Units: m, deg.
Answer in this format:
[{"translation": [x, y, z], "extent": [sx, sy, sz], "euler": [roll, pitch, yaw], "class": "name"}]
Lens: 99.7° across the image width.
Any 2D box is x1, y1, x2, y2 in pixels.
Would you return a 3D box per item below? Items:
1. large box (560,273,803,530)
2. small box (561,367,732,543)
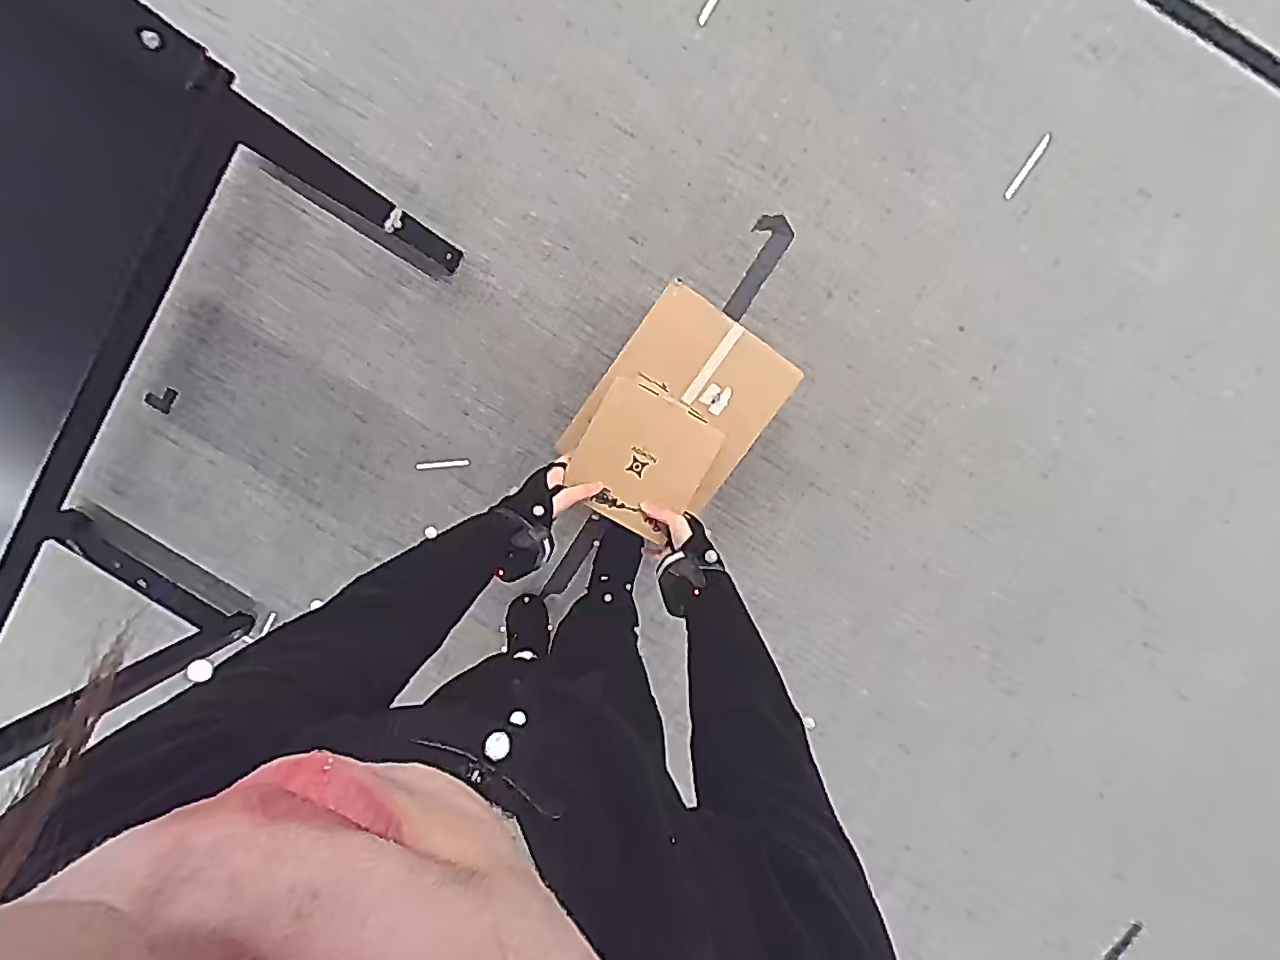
[{"translation": [0.081, -0.161, 1.189], "extent": [0.320, 0.320, 0.408], "euler": [36, 97, -3], "class": "large box"}, {"translation": [0.008, -0.038, 0.774], "extent": [0.168, 0.176, 0.179], "euler": [29, 95, -1], "class": "small box"}]
